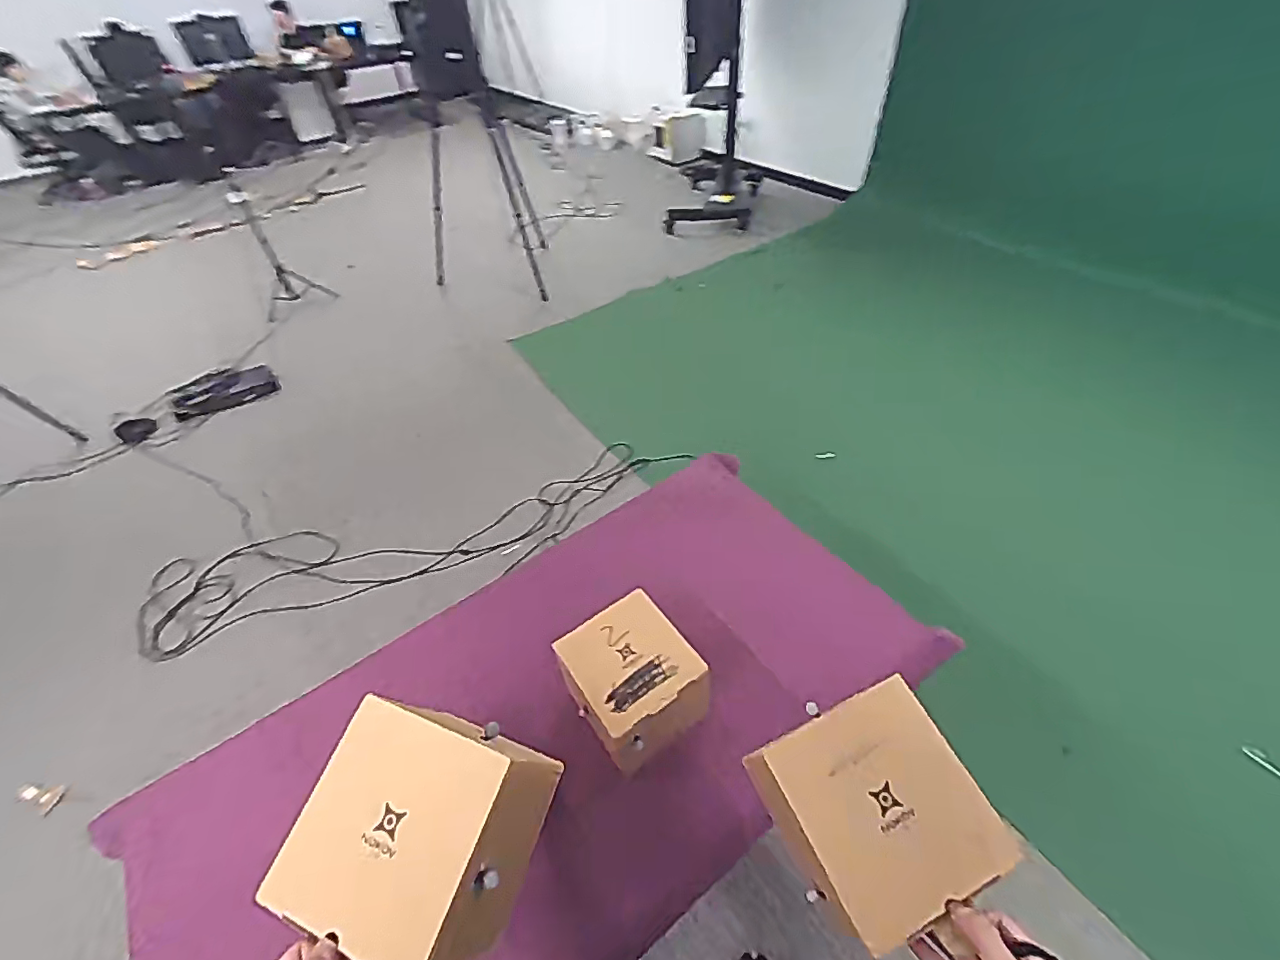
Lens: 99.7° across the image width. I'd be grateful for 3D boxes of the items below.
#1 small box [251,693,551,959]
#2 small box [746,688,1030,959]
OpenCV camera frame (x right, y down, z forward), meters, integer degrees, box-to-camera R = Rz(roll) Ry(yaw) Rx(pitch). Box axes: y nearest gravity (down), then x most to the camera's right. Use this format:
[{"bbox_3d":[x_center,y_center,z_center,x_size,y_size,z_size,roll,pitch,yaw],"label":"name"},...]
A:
[{"bbox_3d":[-0.202,0.330,0.520,0.168,0.176,0.179,16,66,17],"label":"small box"},{"bbox_3d":[0.227,0.340,0.550,0.168,0.176,0.179,-23,62,-10],"label":"small box"}]
